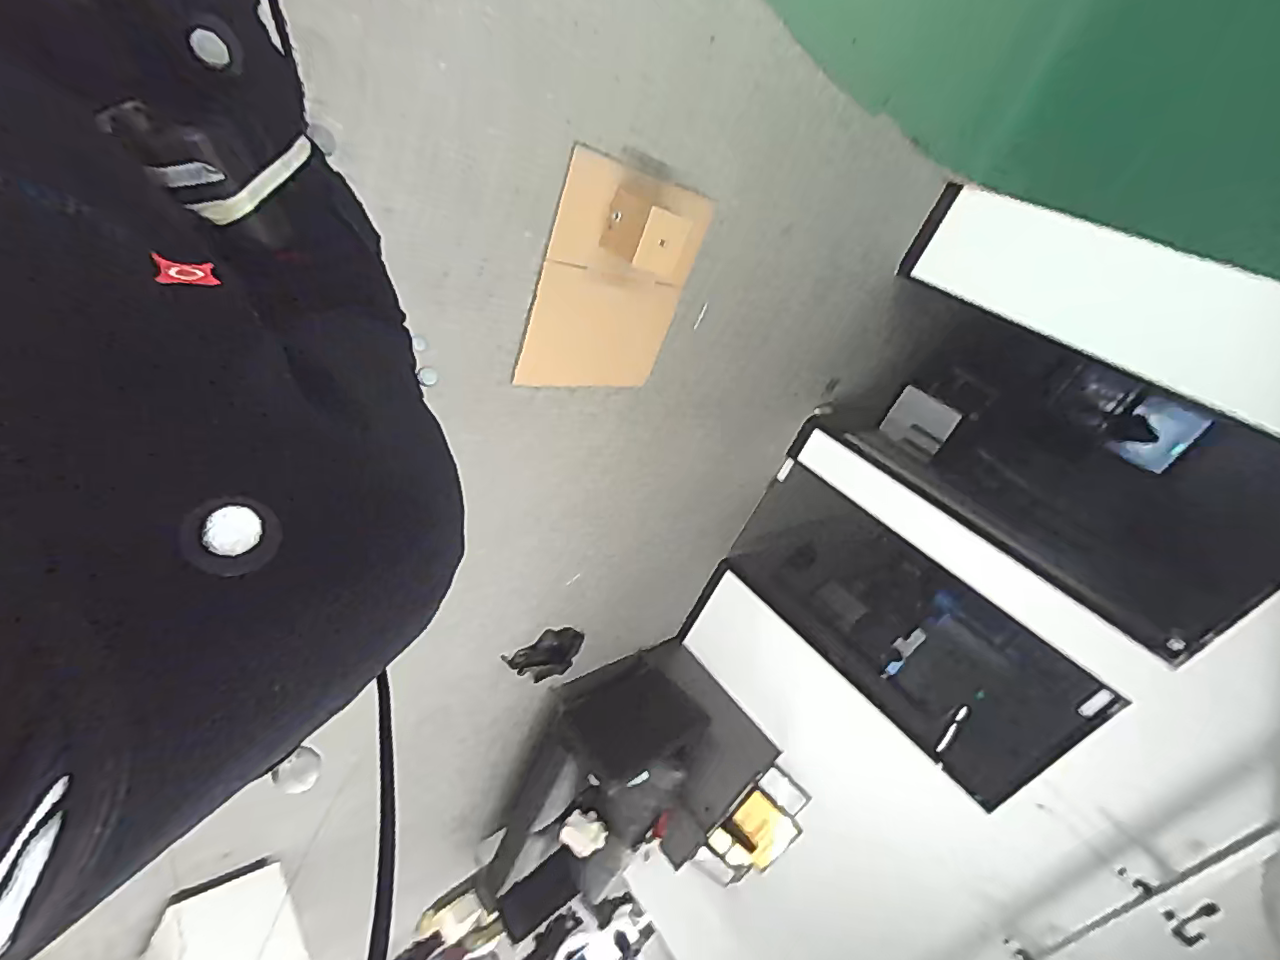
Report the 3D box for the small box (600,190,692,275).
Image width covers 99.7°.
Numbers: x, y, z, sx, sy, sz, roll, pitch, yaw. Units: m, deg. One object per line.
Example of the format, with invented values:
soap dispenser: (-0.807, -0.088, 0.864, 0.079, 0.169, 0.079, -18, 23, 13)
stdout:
small box: (0.015, -0.724, 1.581, 0.179, 0.176, 0.168, -8, 131, -44)
